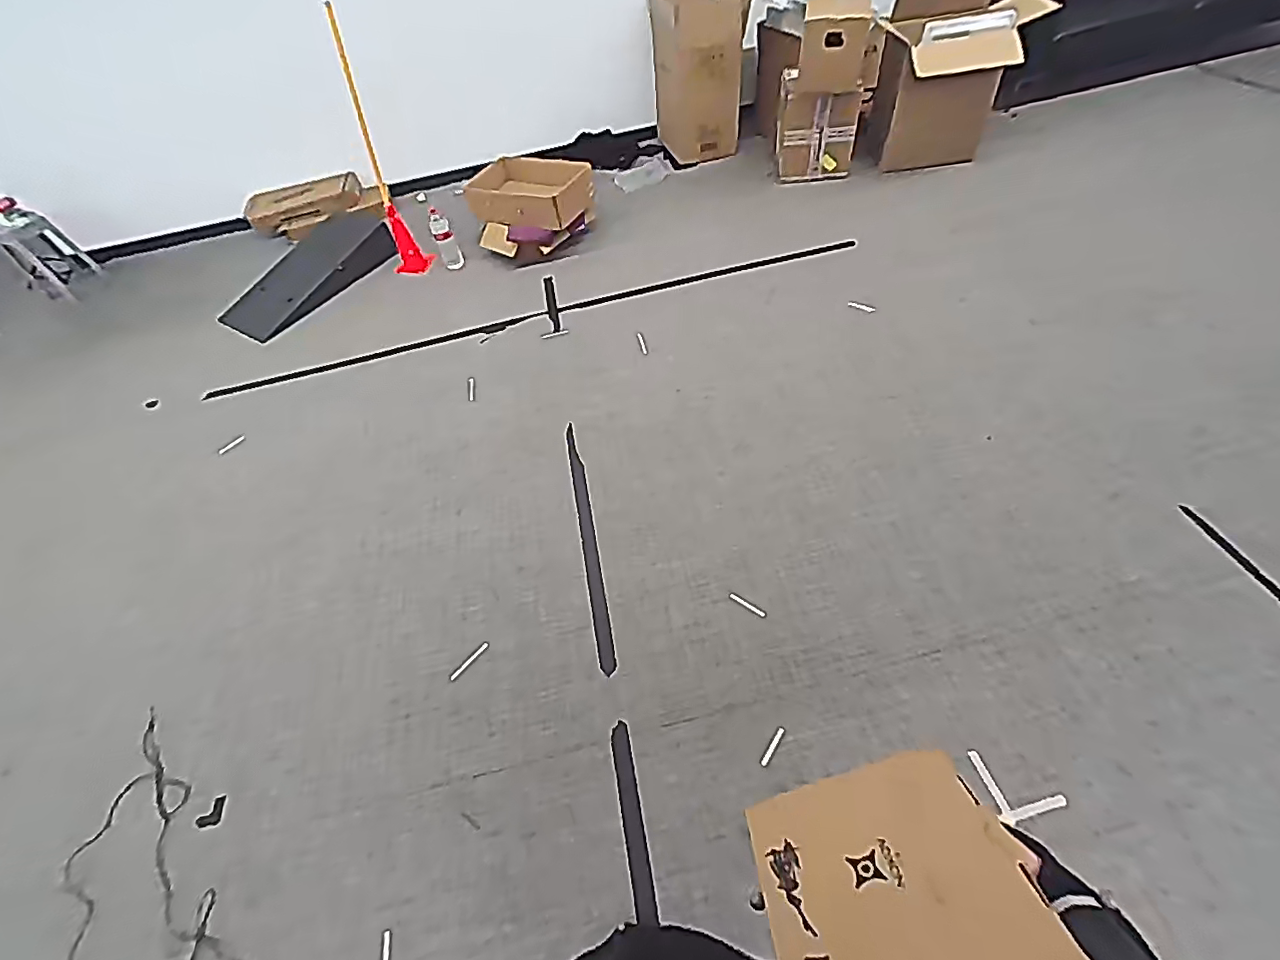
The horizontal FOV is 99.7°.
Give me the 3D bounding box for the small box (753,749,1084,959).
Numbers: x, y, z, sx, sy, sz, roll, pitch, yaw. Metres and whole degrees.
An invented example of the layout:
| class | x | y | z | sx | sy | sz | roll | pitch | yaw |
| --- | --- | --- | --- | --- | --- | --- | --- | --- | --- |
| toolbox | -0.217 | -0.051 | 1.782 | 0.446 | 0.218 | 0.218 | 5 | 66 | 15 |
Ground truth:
| class | x | y | z | sx | sy | sz | roll | pitch | yaw |
| --- | --- | --- | --- | --- | --- | --- | --- | --- | --- |
| small box | 0.209 | 0.356 | 0.418 | 0.179 | 0.176 | 0.168 | -22 | 14 | 7 |
